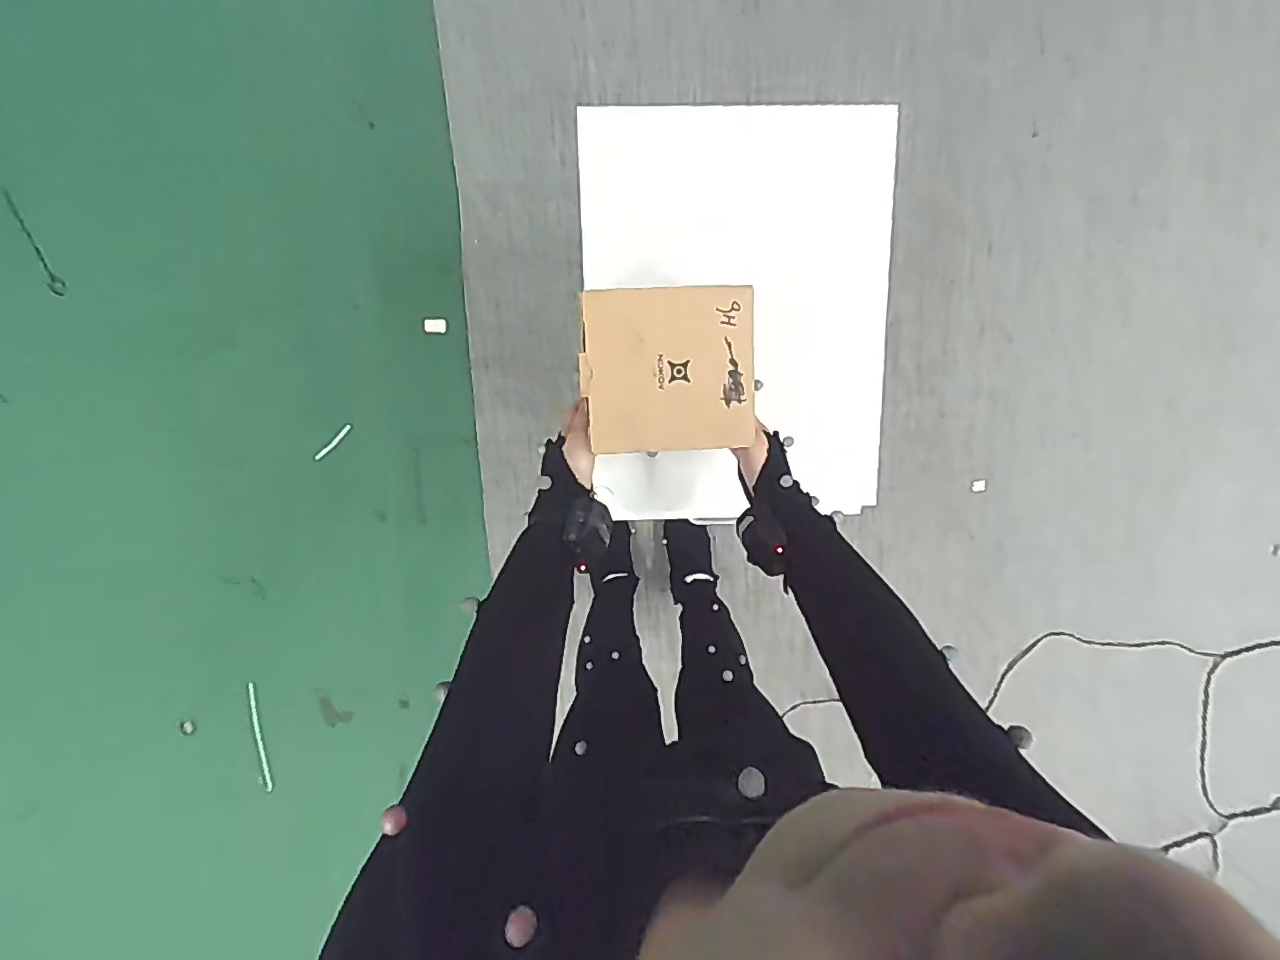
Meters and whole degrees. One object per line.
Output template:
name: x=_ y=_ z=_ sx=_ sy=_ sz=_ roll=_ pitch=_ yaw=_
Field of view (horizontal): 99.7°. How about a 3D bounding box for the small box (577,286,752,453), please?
small box: x=0.025 y=-0.122 z=0.626 sx=0.179 sy=0.176 sz=0.168 roll=-3 pitch=100 yaw=-2
